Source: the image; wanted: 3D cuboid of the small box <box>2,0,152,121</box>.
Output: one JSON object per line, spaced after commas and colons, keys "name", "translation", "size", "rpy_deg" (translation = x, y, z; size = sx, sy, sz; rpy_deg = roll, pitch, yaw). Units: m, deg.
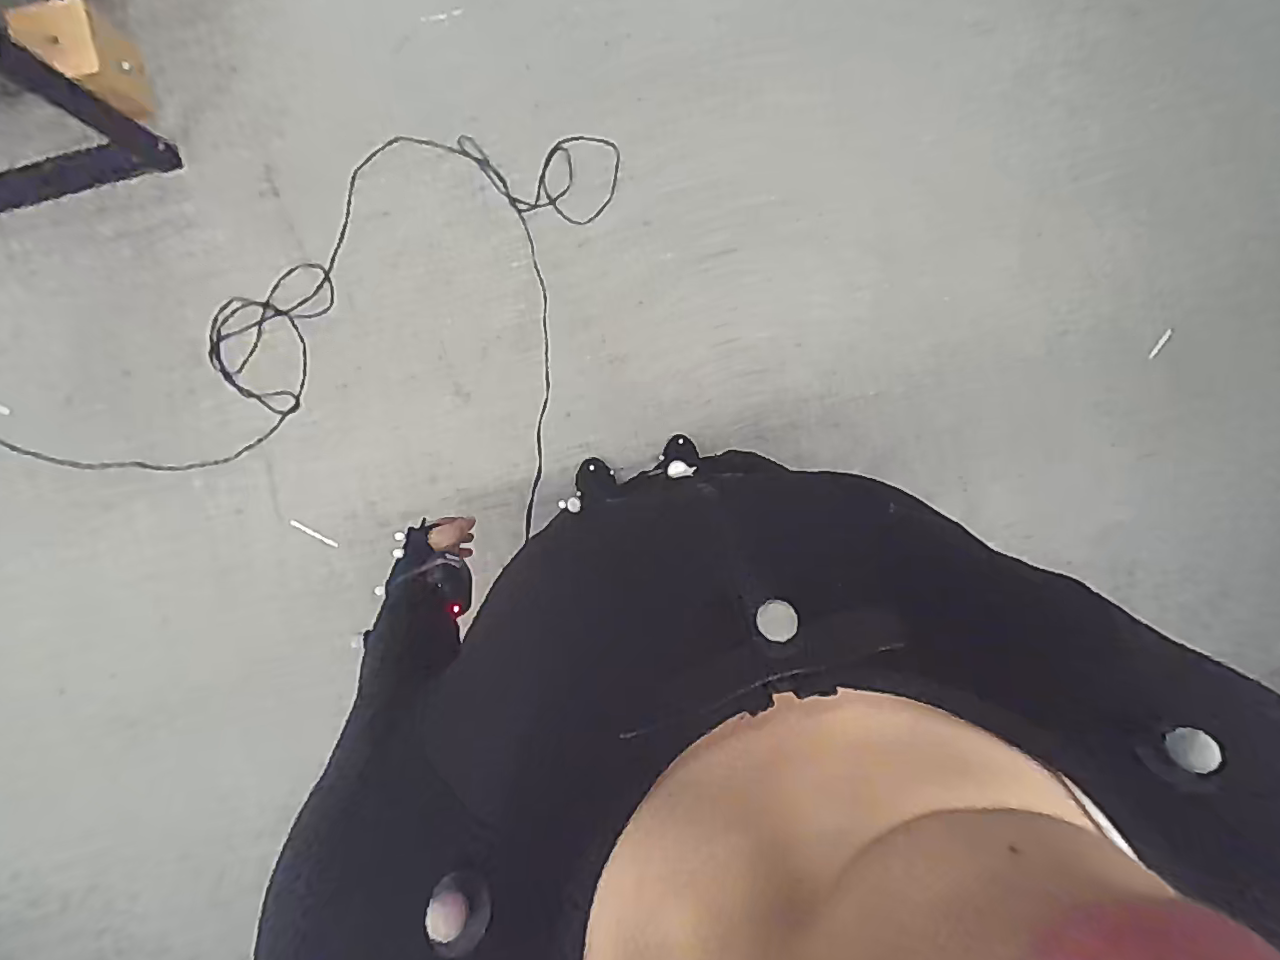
{"name": "small box", "translation": [-1.322, -0.996, 1.289], "size": [0.179, 0.176, 0.168], "rpy_deg": [-11, 94, -2]}
